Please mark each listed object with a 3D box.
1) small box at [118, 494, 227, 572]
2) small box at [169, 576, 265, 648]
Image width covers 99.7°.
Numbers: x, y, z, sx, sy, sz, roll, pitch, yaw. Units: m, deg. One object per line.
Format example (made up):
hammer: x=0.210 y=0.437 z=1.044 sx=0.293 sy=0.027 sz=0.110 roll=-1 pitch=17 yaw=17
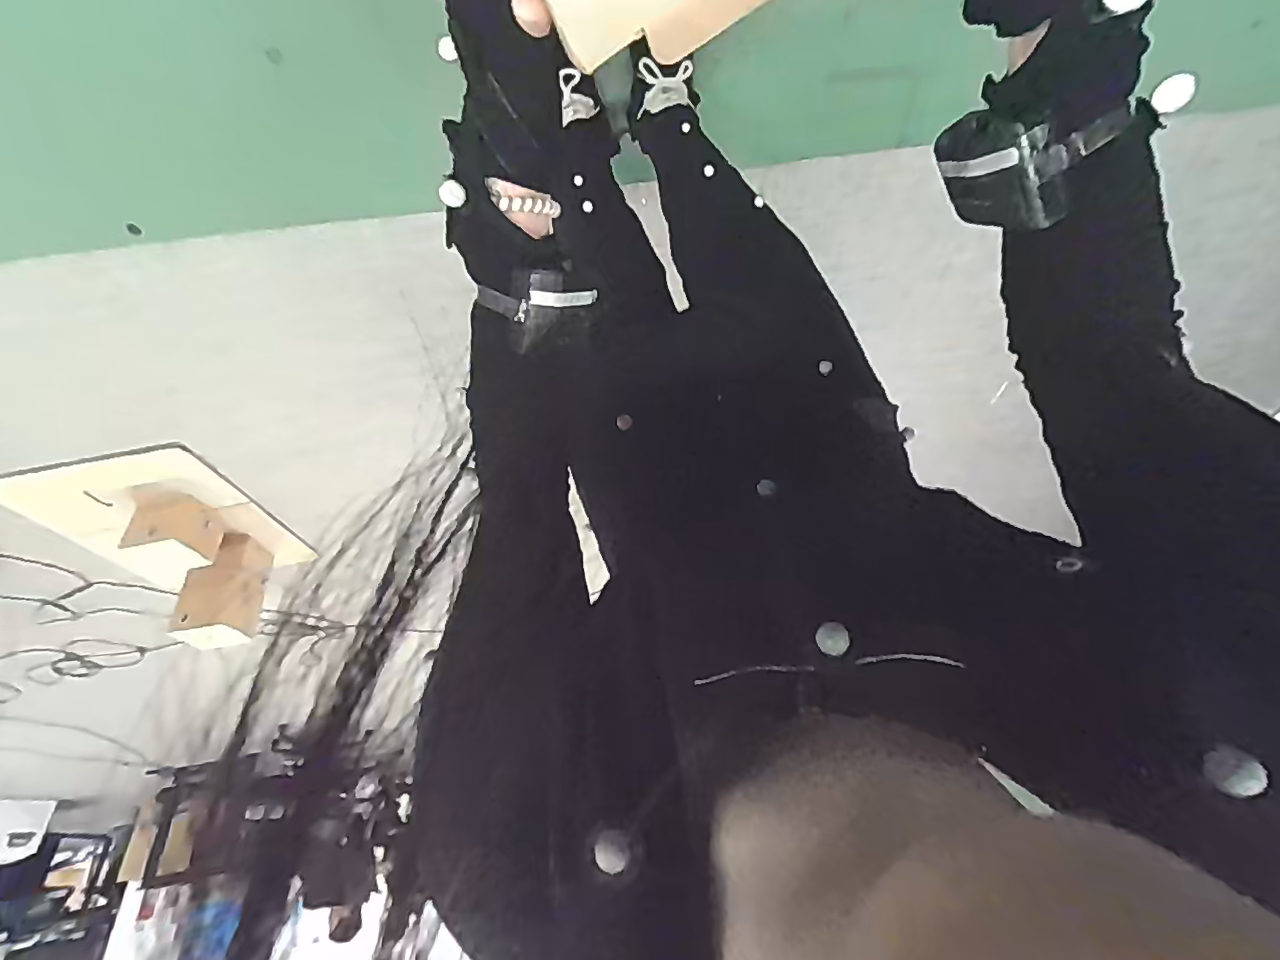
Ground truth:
small box: x=-1.463 y=0.167 z=1.707 sx=0.179 sy=0.176 sz=0.168 roll=-12 pitch=144 yaw=0
small box: x=-1.405 y=0.440 z=1.809 sx=0.179 sy=0.176 sz=0.168 roll=-9 pitch=145 yaw=-3
